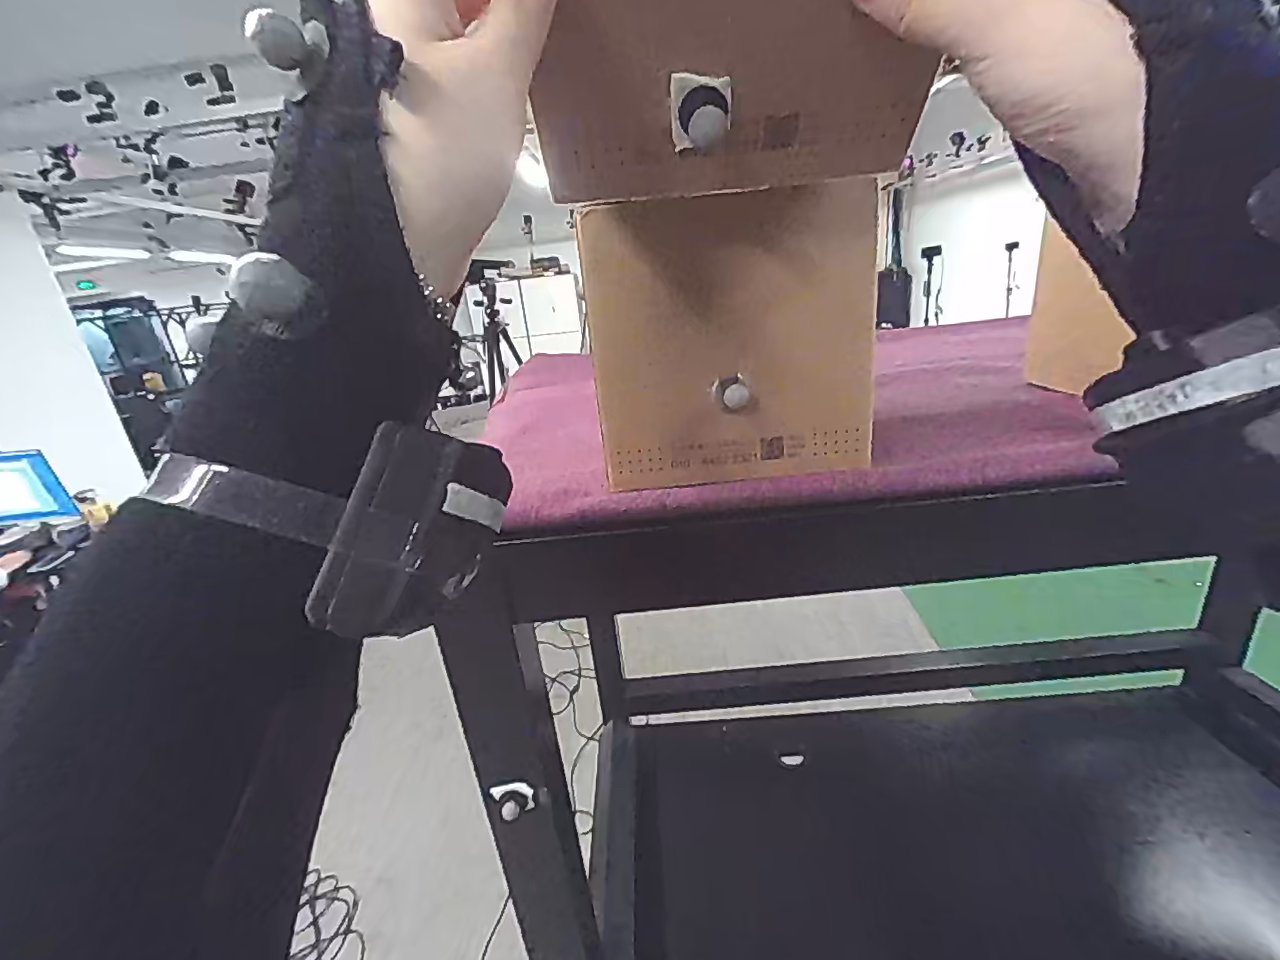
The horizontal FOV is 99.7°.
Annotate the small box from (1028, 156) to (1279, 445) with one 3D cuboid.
[{"bbox_3d":[0.424,-0.132,0.395,0.168,0.176,0.179,-6,21,4],"label":"small box"}]

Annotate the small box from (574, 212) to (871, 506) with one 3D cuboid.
[{"bbox_3d":[0.053,-0.090,0.398,0.168,0.176,0.179,-6,19,3],"label":"small box"}]

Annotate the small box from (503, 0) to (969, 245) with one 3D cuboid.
[{"bbox_3d":[0.028,-0.231,0.228,0.168,0.176,0.179,-6,63,2],"label":"small box"}]
